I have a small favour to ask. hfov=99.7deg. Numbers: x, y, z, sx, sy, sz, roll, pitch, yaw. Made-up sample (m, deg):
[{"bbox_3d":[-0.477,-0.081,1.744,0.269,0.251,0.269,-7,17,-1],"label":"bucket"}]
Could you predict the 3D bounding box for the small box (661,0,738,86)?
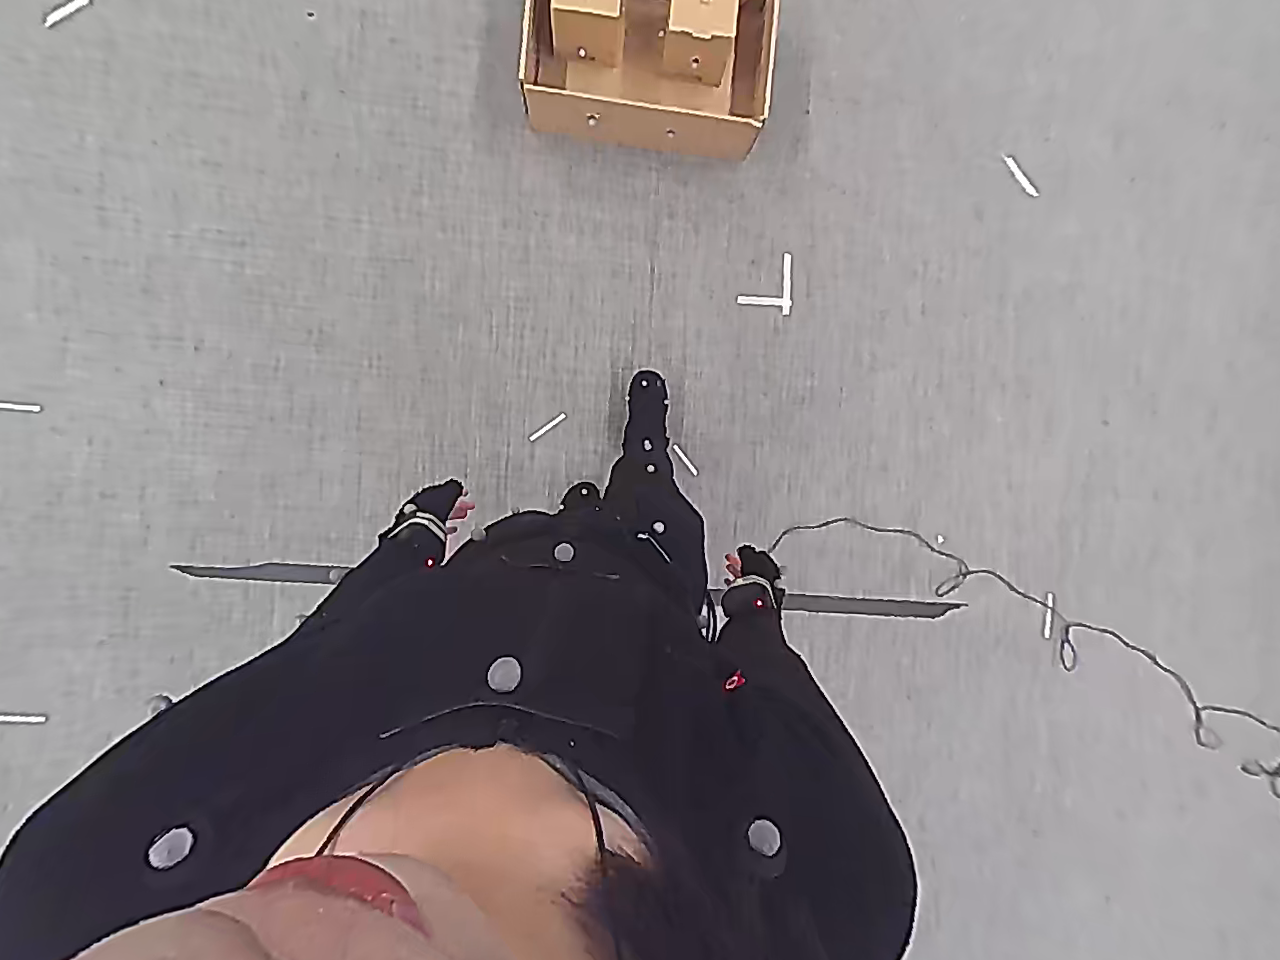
[{"bbox_3d":[0.149,-1.156,1.383,0.168,0.176,0.179,6,92,-5],"label":"small box"}]
